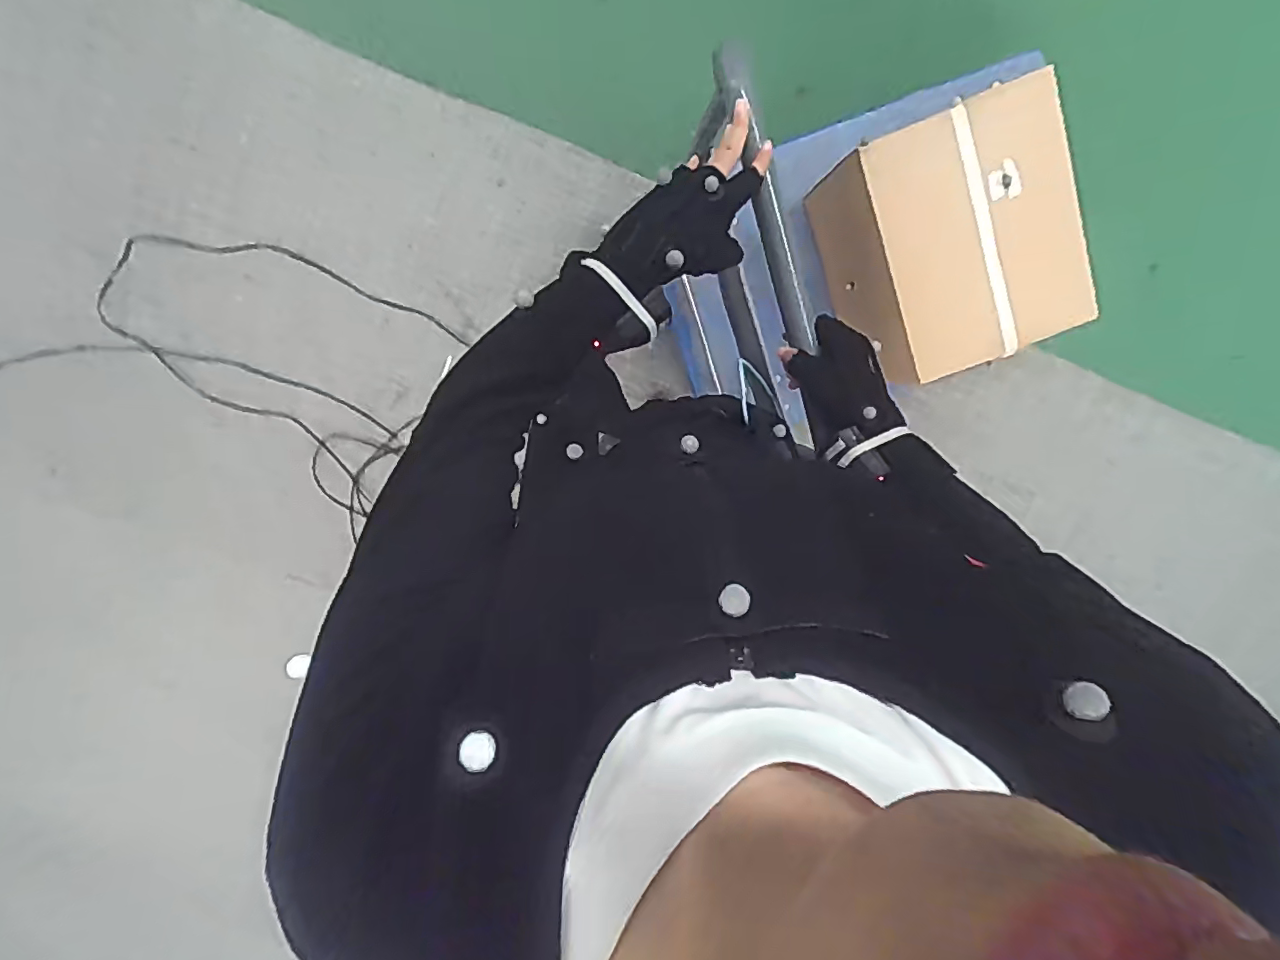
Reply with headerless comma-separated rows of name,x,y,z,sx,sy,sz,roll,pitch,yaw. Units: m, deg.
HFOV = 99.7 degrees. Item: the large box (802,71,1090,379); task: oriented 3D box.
large box,0.555,-0.440,1.042,0.320,0.320,0.408,-21,101,4
